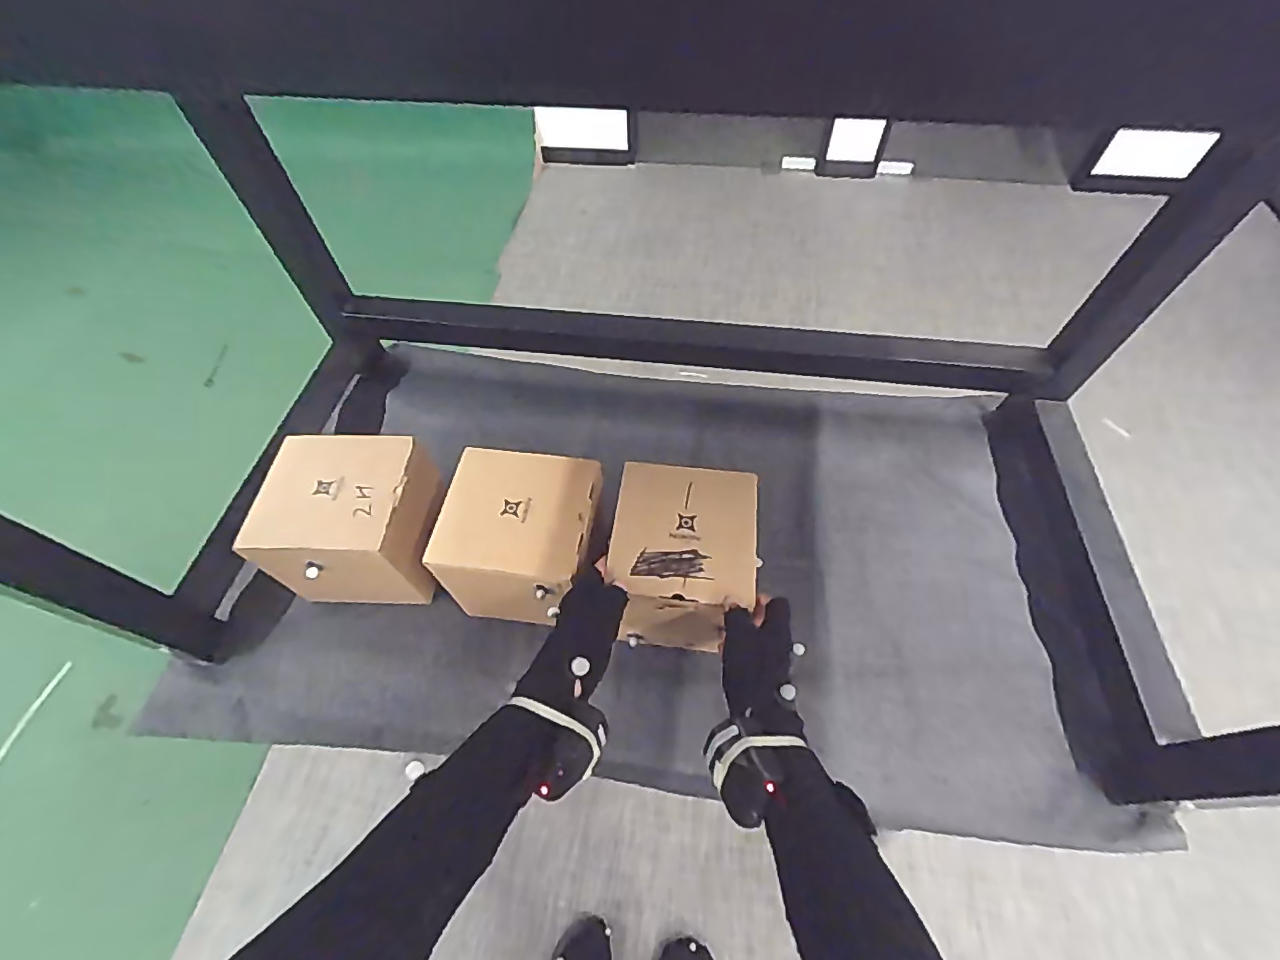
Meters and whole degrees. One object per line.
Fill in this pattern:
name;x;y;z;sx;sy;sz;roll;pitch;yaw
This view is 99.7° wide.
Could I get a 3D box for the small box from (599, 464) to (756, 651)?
small box;0.051;0.103;0.682;0.168;0.176;0.179;6;56;6
